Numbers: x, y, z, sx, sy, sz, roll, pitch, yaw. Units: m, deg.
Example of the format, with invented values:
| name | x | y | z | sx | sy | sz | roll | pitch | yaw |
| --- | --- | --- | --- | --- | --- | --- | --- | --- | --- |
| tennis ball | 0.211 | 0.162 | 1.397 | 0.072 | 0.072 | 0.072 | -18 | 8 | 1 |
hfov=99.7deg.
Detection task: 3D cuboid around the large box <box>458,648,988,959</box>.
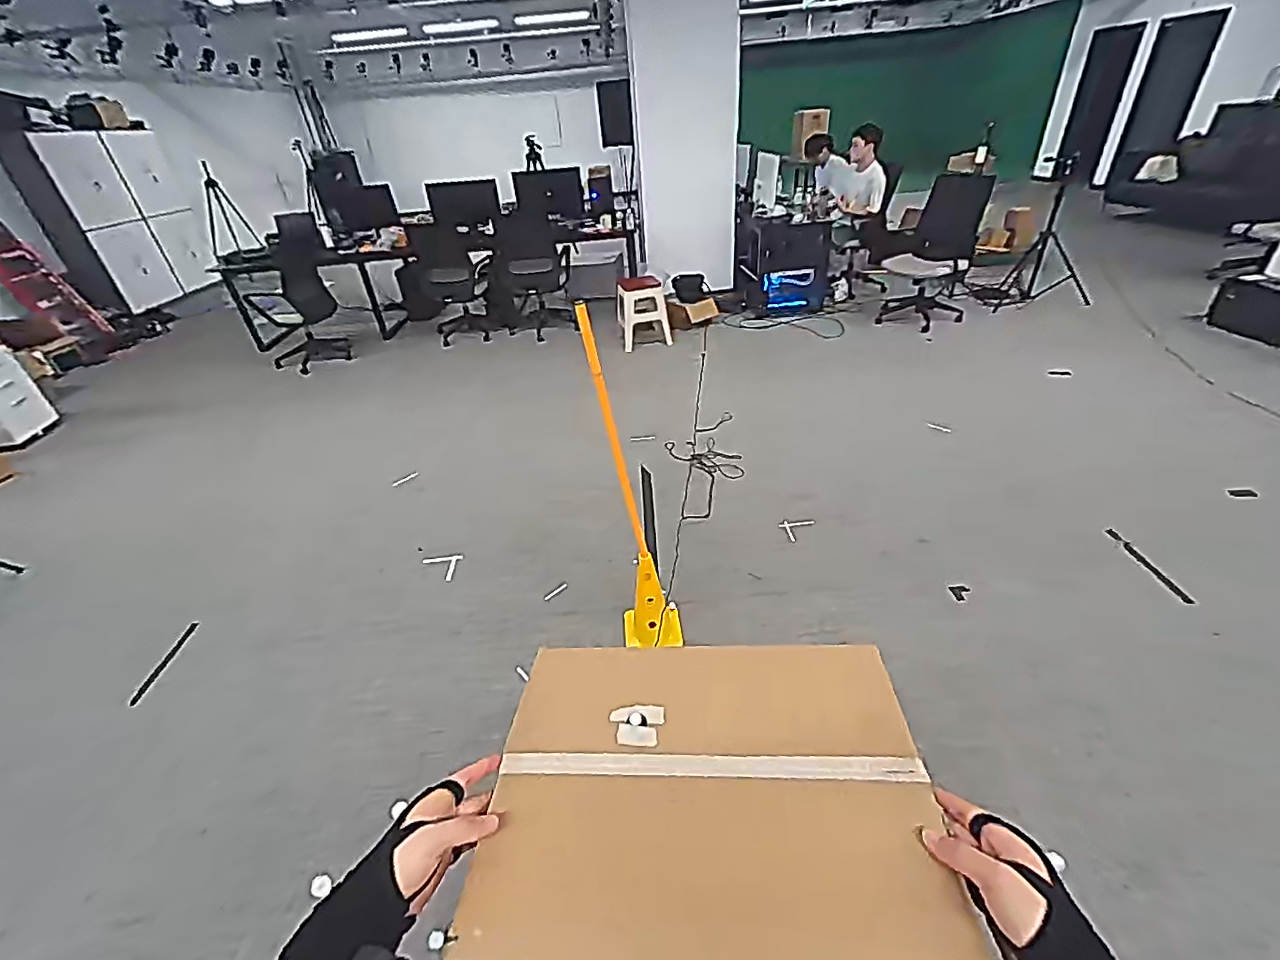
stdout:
| name | x | y | z | sx | sy | sz | roll | pitch | yaw |
| --- | --- | --- | --- | --- | --- | --- | --- | --- | --- |
| large box | 0.082 | 0.418 | 0.599 | 0.408 | 0.320 | 0.320 | -4 | 29 | 7 |
